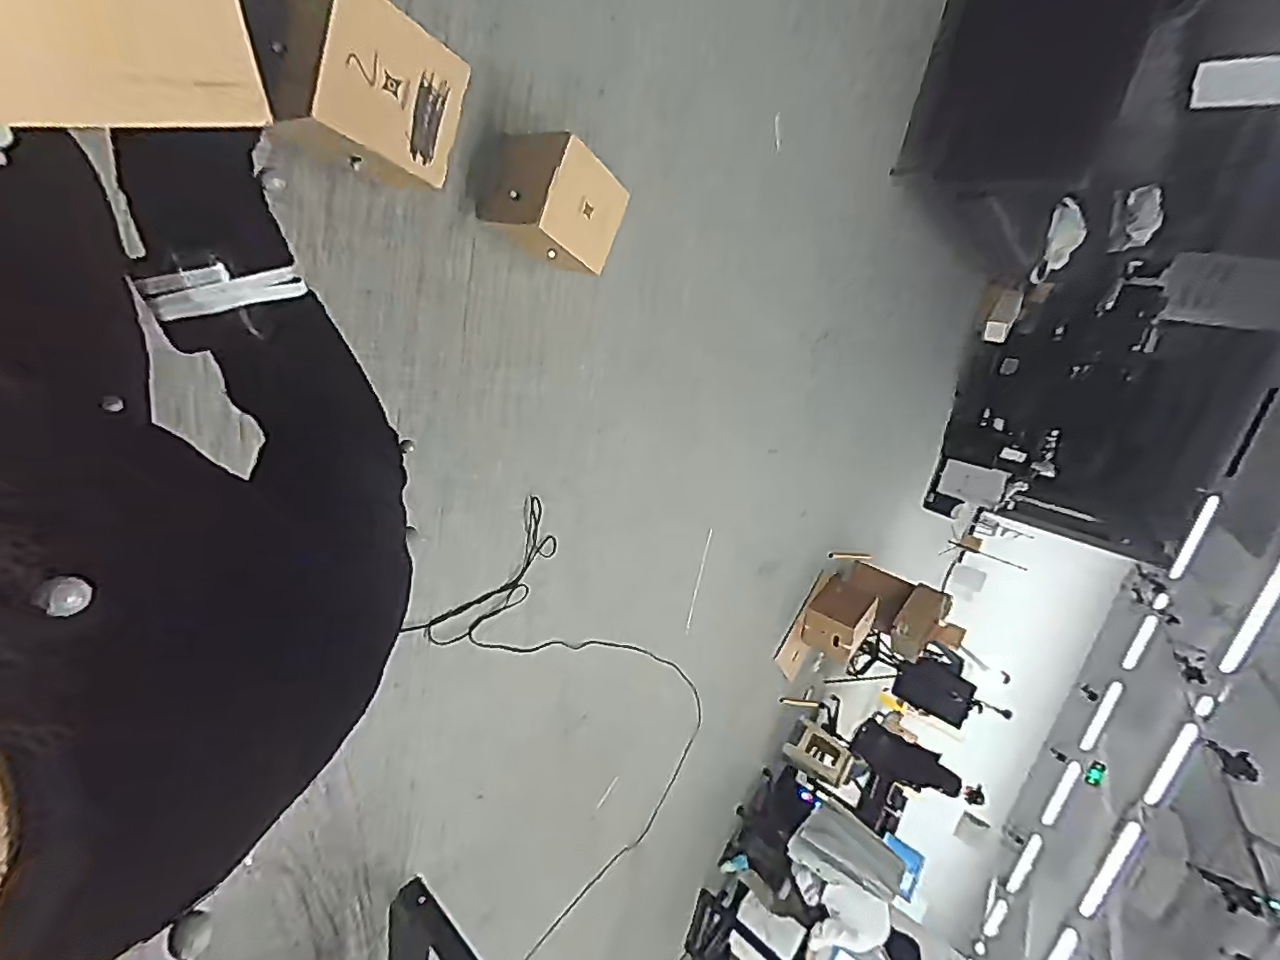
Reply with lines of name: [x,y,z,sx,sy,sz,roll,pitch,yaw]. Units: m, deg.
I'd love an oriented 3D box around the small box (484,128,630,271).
small box: [-0.155,-0.512,1.001,0.179,0.176,0.168,18,95,-56]
